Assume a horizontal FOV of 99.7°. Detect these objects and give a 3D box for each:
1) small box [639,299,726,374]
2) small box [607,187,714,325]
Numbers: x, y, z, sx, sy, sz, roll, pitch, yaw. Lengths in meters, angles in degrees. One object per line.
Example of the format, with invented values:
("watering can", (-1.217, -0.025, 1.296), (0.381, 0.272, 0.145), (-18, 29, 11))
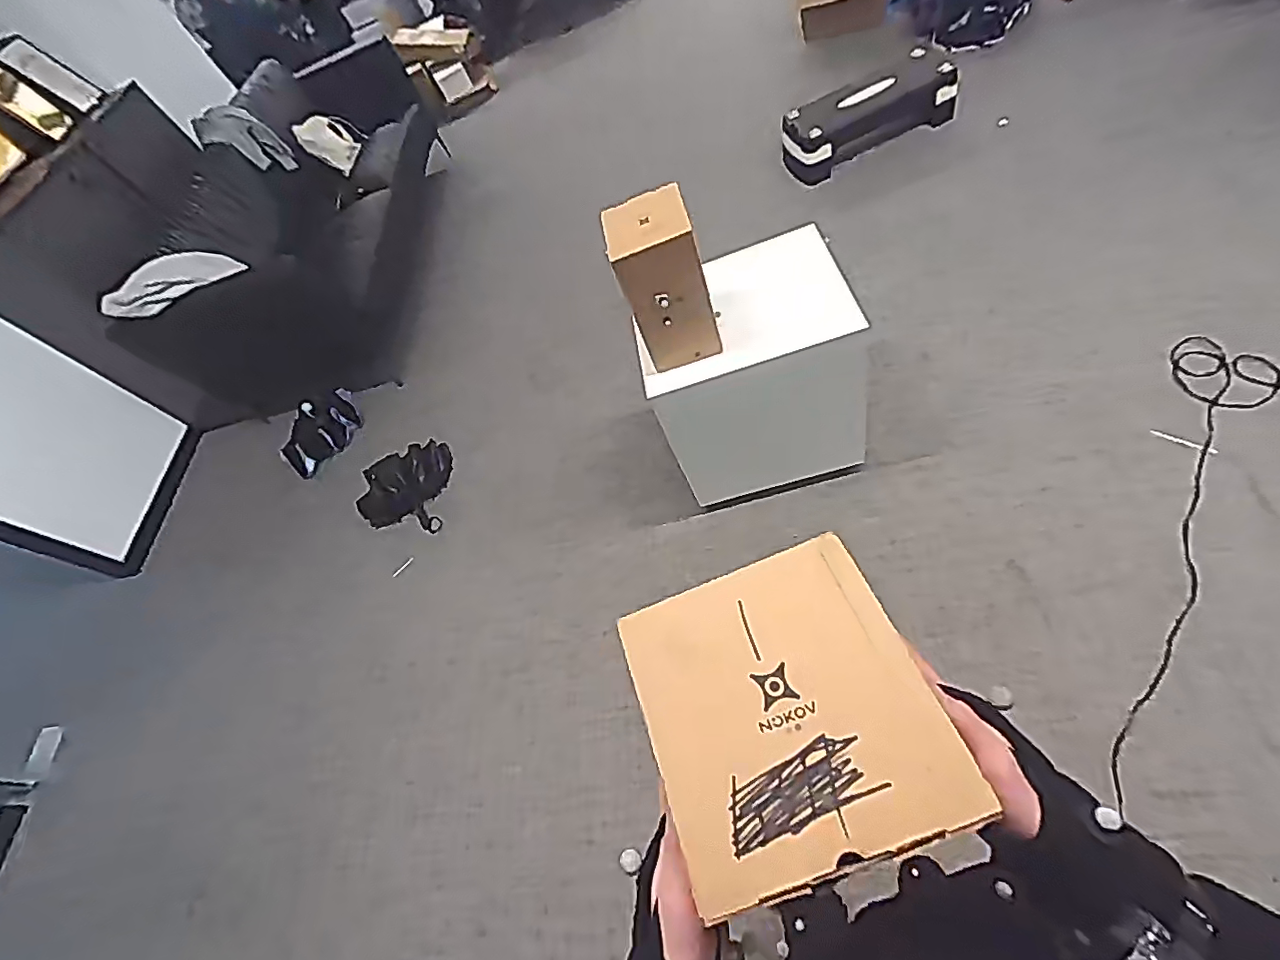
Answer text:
("small box", (0.093, -0.379, 1.252), (0.168, 0.176, 0.179), (-16, 54, 12))
("small box", (0.044, -0.456, 1.117), (0.168, 0.176, 0.179), (-18, 56, 12))
